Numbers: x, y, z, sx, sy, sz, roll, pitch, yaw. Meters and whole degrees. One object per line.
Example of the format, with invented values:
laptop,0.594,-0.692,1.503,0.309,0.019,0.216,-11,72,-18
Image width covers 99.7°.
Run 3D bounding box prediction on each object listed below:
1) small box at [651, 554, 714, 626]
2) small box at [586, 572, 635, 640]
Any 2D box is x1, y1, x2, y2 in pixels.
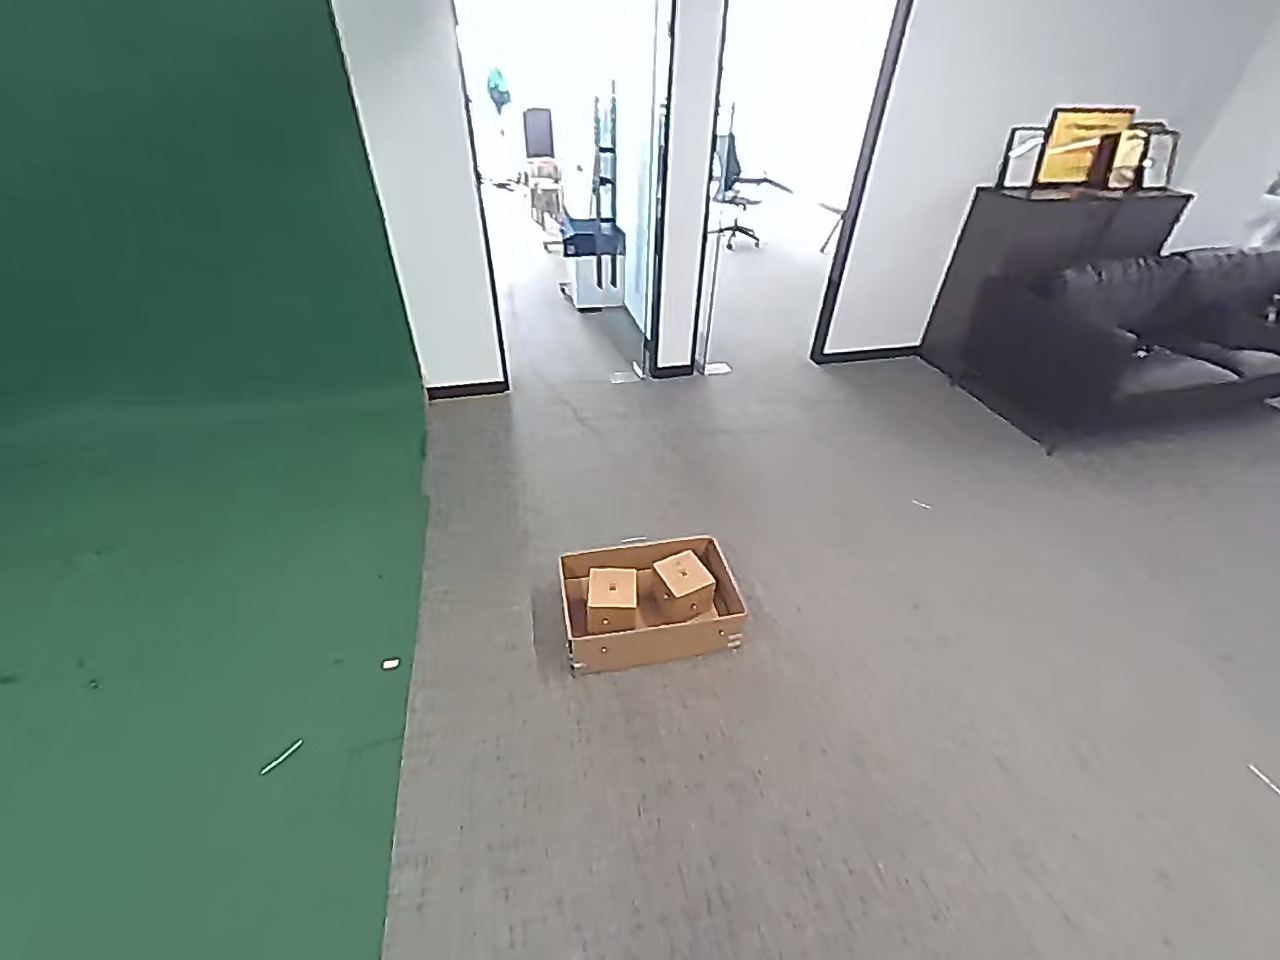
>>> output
small box,0.151,0.407,1.970,0.168,0.176,0.179,-17,41,-22
small box,-0.101,0.446,1.908,0.168,0.176,0.179,1,36,-2
